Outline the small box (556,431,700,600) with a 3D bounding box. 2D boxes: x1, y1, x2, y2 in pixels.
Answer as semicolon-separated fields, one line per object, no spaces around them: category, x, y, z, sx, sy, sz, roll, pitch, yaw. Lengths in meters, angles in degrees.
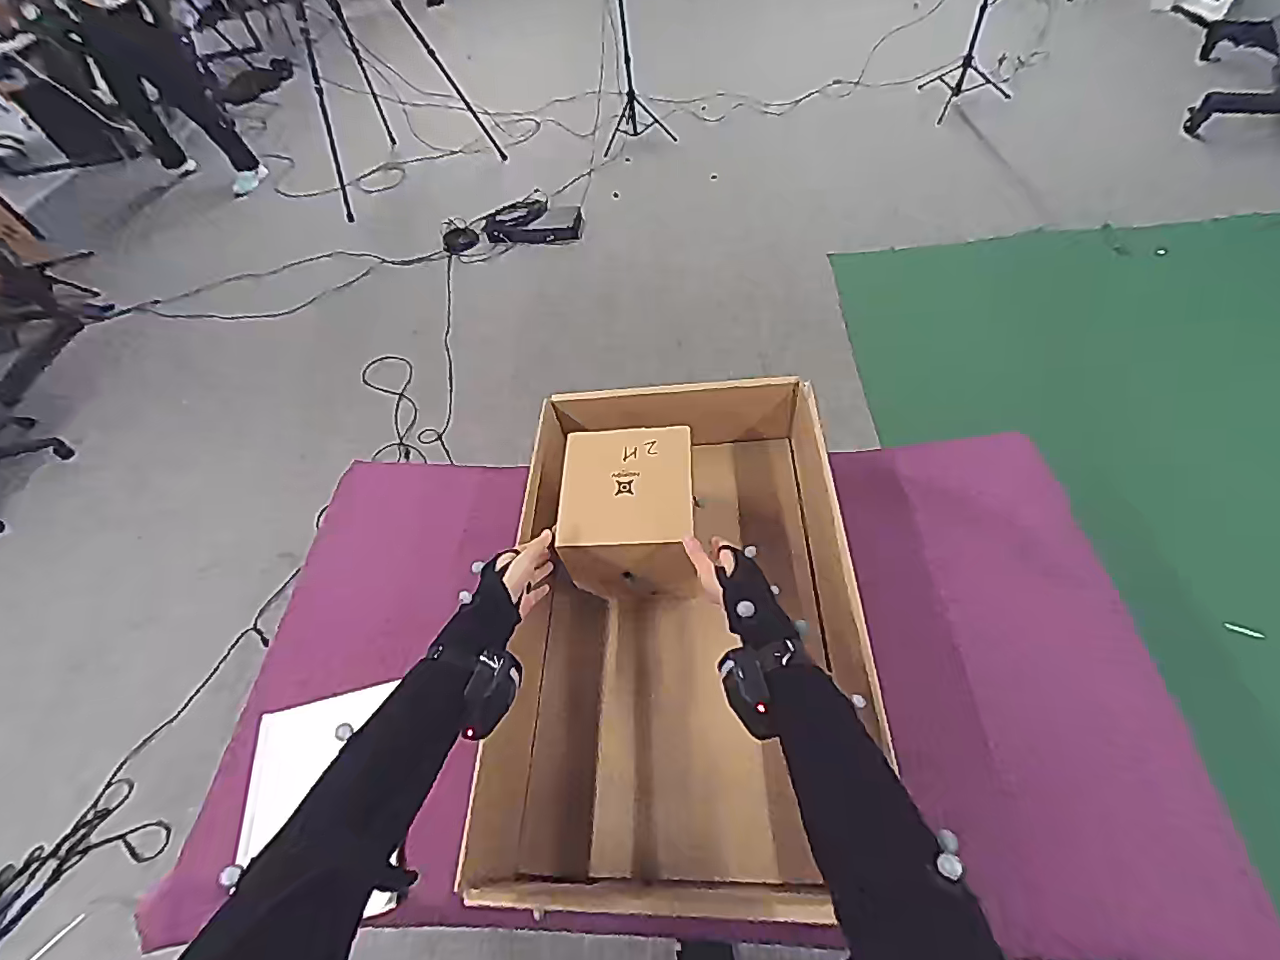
small box;-0.006;0.055;0.736;0.168;0.176;0.179;-3;55;7
